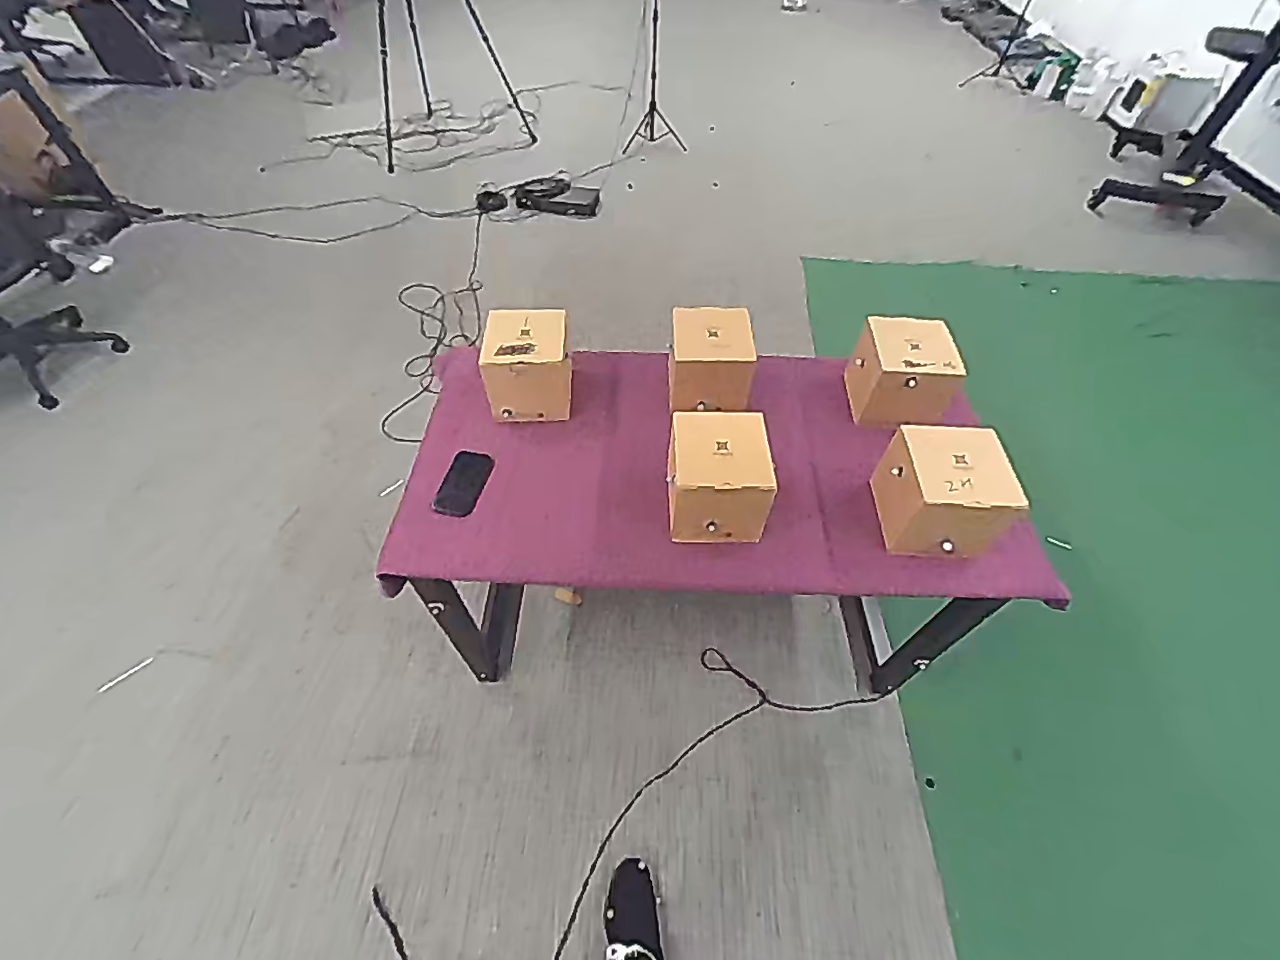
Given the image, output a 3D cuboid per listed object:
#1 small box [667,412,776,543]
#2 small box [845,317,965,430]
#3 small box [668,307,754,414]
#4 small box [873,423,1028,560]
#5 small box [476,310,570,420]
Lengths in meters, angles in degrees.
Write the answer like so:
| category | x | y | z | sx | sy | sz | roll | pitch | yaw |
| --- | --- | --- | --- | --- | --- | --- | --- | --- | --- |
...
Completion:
| category | x | y | z | sx | sy | sz | roll | pitch | yaw |
| --- | --- | --- | --- | --- | --- | --- | --- | --- | --- |
| small box | 0.138 | -0.004 | 0.988 | 0.168 | 0.176 | 0.179 | 0 | 52 | -1 |
| small box | 0.557 | -0.227 | 1.165 | 0.168 | 0.176 | 0.179 | 3 | 52 | 3 |
| small box | 0.147 | -0.255 | 1.183 | 0.168 | 0.176 | 0.179 | 1 | 53 | 1 |
| small box | 0.537 | 0.021 | 0.968 | 0.168 | 0.176 | 0.179 | 3 | 52 | 3 |
| small box | -0.241 | -0.243 | 1.166 | 0.168 | 0.176 | 0.179 | -1 | 51 | -2 |
